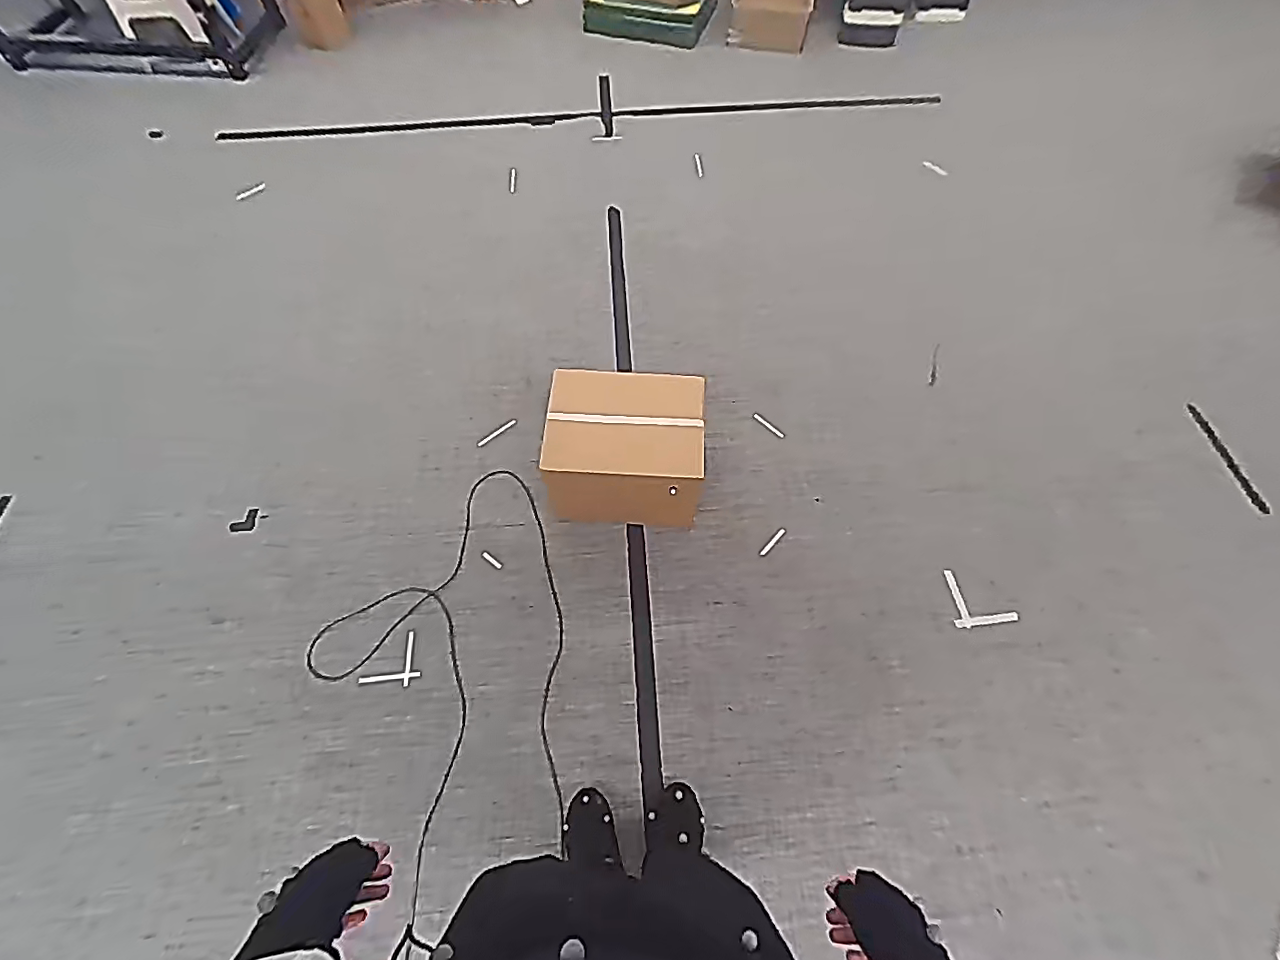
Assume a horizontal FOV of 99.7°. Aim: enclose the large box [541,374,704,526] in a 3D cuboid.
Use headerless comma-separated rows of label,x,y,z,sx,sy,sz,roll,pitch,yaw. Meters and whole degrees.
large box,-0.039,-0.073,1.507,0.408,0.320,0.320,3,62,0
